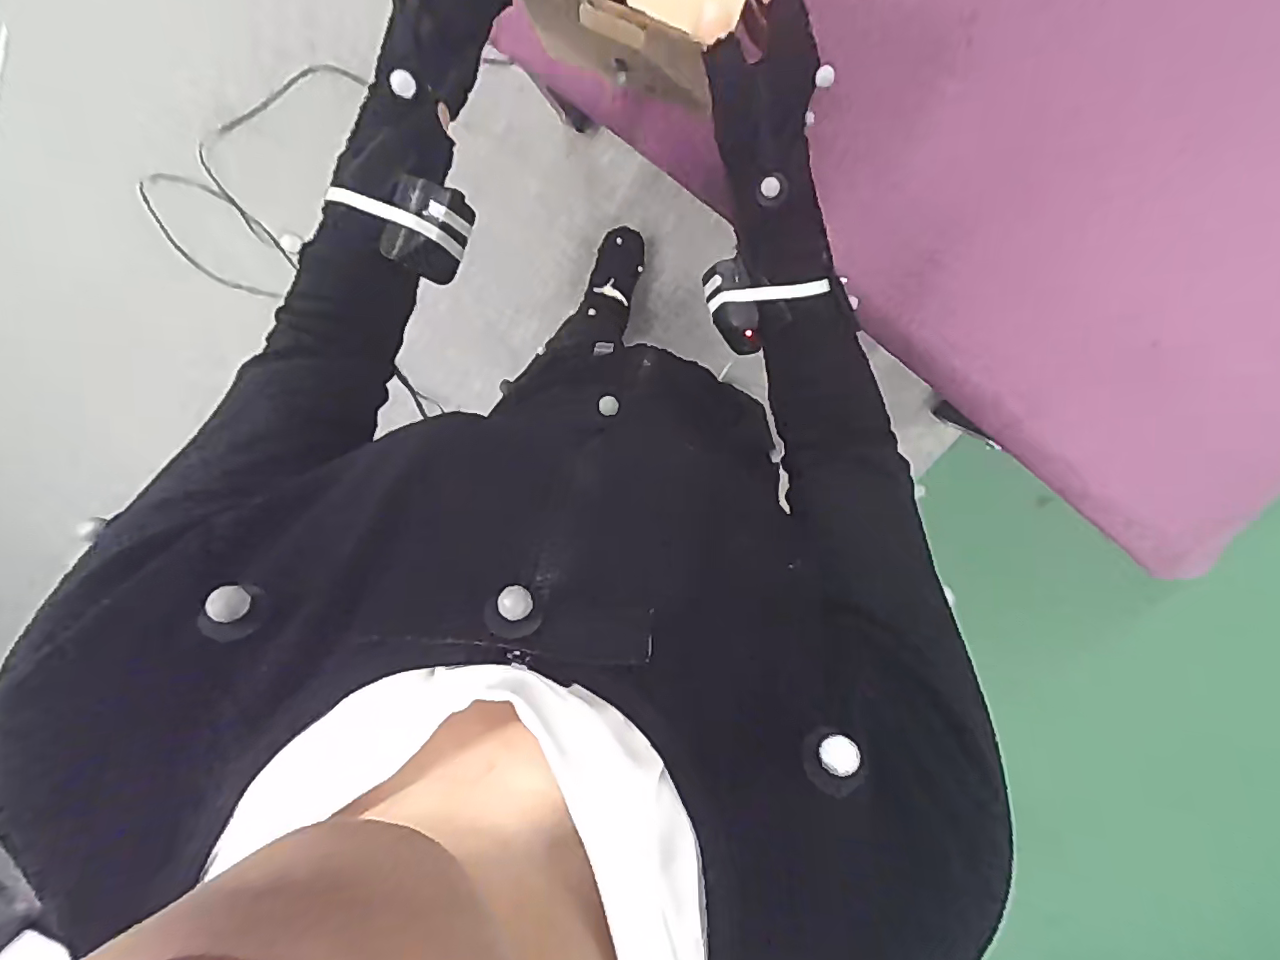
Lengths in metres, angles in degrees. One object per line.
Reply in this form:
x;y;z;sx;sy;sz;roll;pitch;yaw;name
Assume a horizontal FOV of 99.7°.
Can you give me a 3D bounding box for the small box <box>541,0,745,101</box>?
0.015;-0.439;0.417;0.168;0.176;0.179;20;110;-5;small box
